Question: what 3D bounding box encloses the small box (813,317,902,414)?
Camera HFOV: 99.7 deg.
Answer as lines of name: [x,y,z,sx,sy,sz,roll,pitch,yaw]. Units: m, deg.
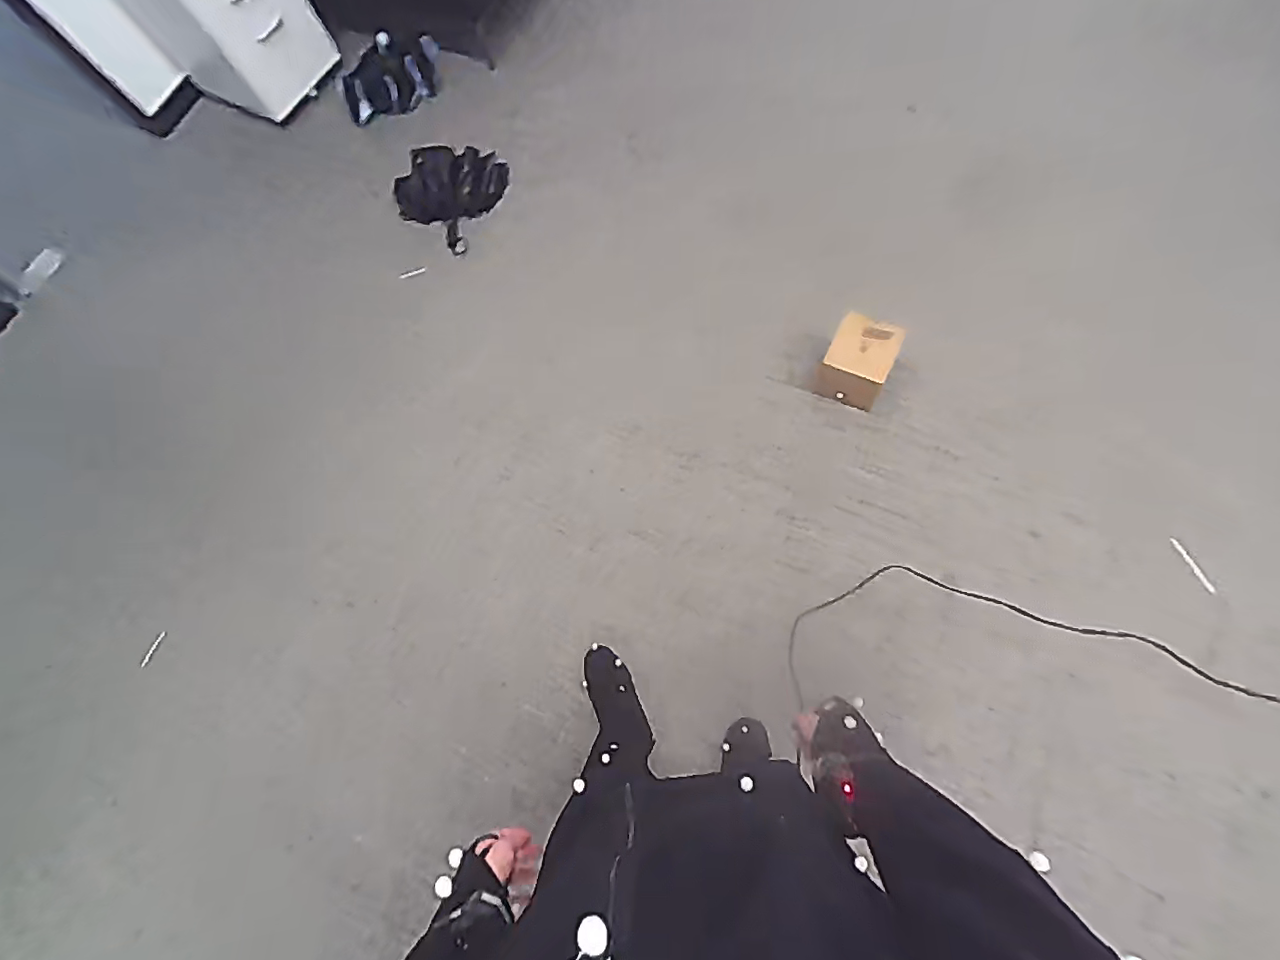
small box: [0.596,-0.315,1.502,0.168,0.176,0.179,24,78,17]
